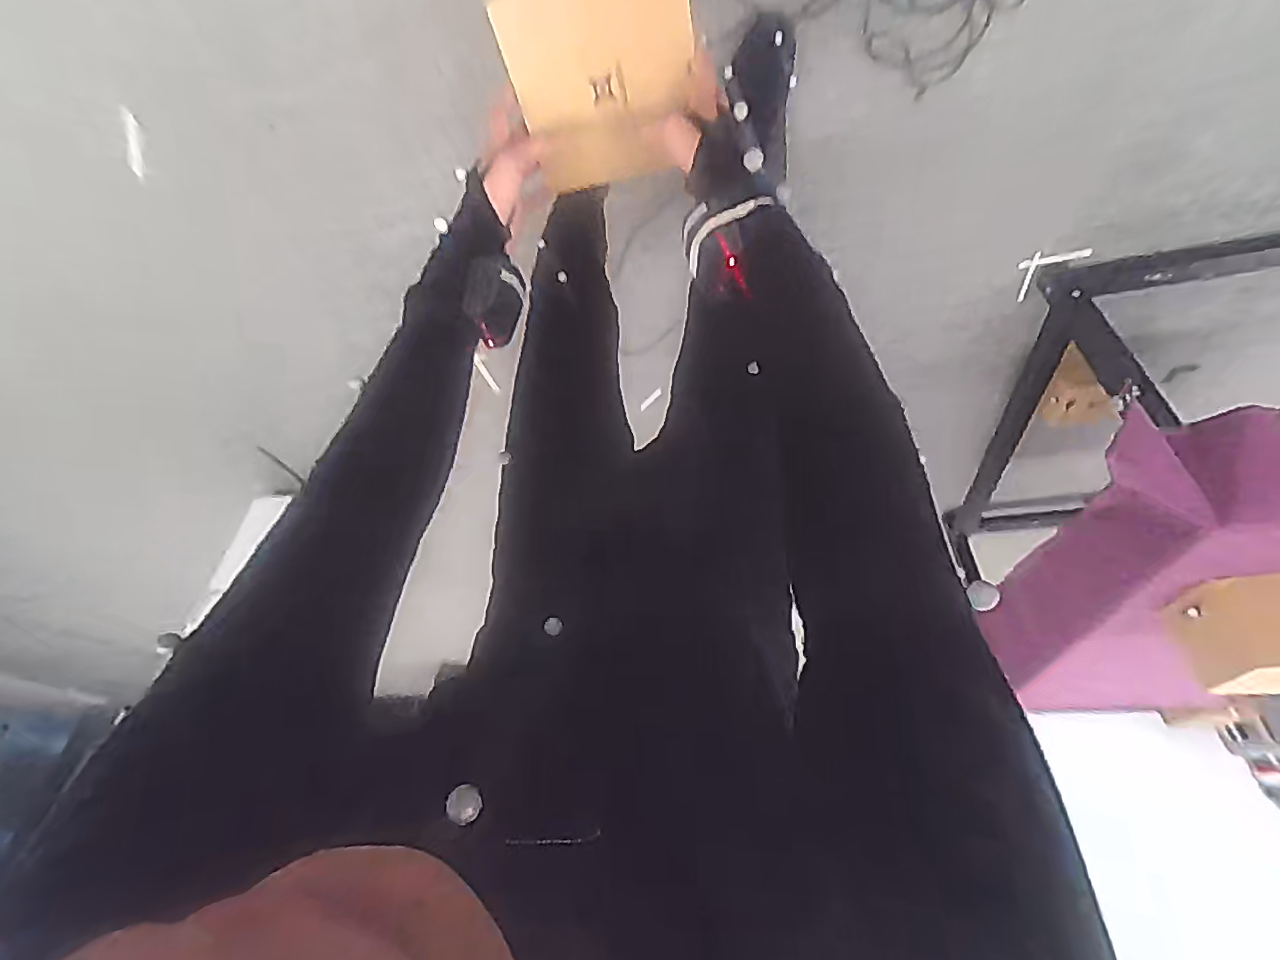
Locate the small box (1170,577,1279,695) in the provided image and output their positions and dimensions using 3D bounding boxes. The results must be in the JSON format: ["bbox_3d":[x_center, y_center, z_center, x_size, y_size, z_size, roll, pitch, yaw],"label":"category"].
[{"bbox_3d":[1.143,0.283,0.982,0.179,0.176,0.168,-6,144,12],"label":"small box"}]

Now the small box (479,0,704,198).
[{"bbox_3d":[-0.035,-0.422,0.546,0.179,0.176,0.168,-8,144,10],"label":"small box"}]
